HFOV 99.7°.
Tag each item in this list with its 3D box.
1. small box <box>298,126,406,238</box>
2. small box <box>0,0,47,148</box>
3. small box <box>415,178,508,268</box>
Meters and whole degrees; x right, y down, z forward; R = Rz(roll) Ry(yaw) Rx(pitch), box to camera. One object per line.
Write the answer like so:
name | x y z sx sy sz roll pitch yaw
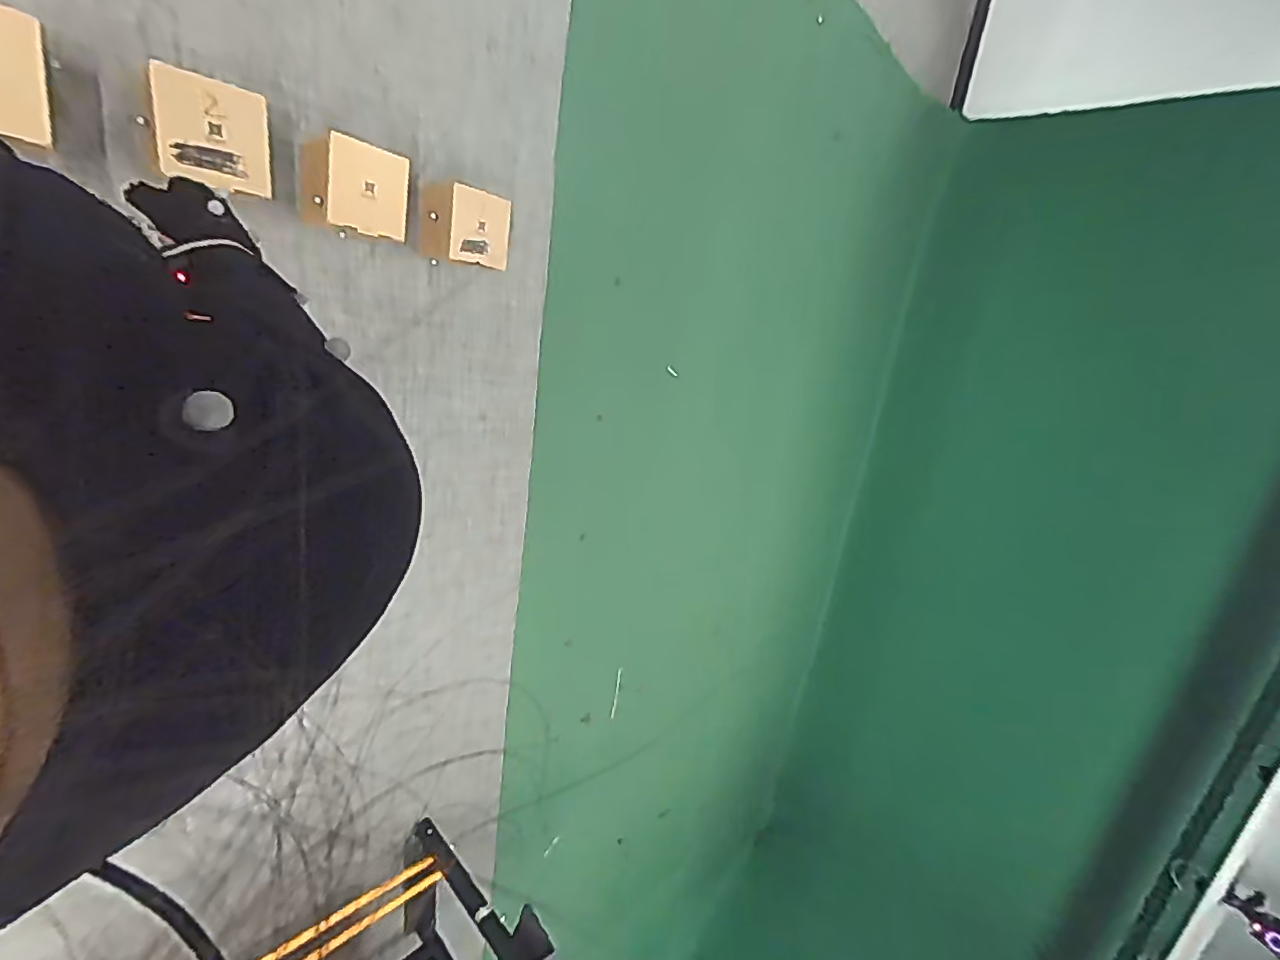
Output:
small box | -0.647 -0.655 1.209 0.168 0.176 0.179 -6 112 -48
small box | -1.011 -0.620 0.800 0.168 0.176 0.179 -6 112 -47
small box | -0.469 -0.664 1.411 0.168 0.176 0.179 -7 112 -48
